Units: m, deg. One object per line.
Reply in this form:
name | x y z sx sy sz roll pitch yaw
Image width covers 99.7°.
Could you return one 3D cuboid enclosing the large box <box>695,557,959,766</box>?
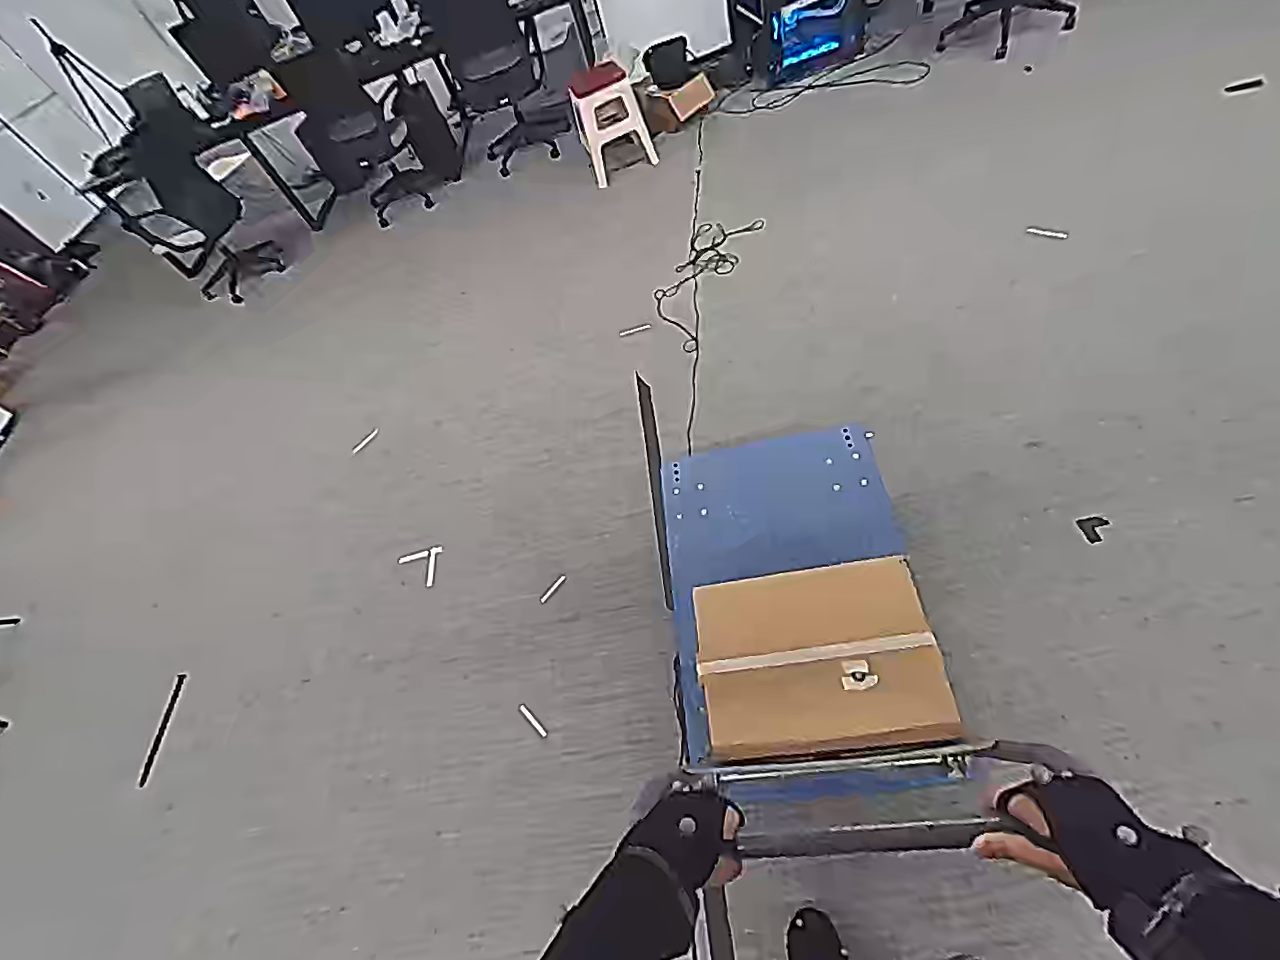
large box | 0.350 0.388 1.105 0.408 0.320 0.320 -11 60 11
